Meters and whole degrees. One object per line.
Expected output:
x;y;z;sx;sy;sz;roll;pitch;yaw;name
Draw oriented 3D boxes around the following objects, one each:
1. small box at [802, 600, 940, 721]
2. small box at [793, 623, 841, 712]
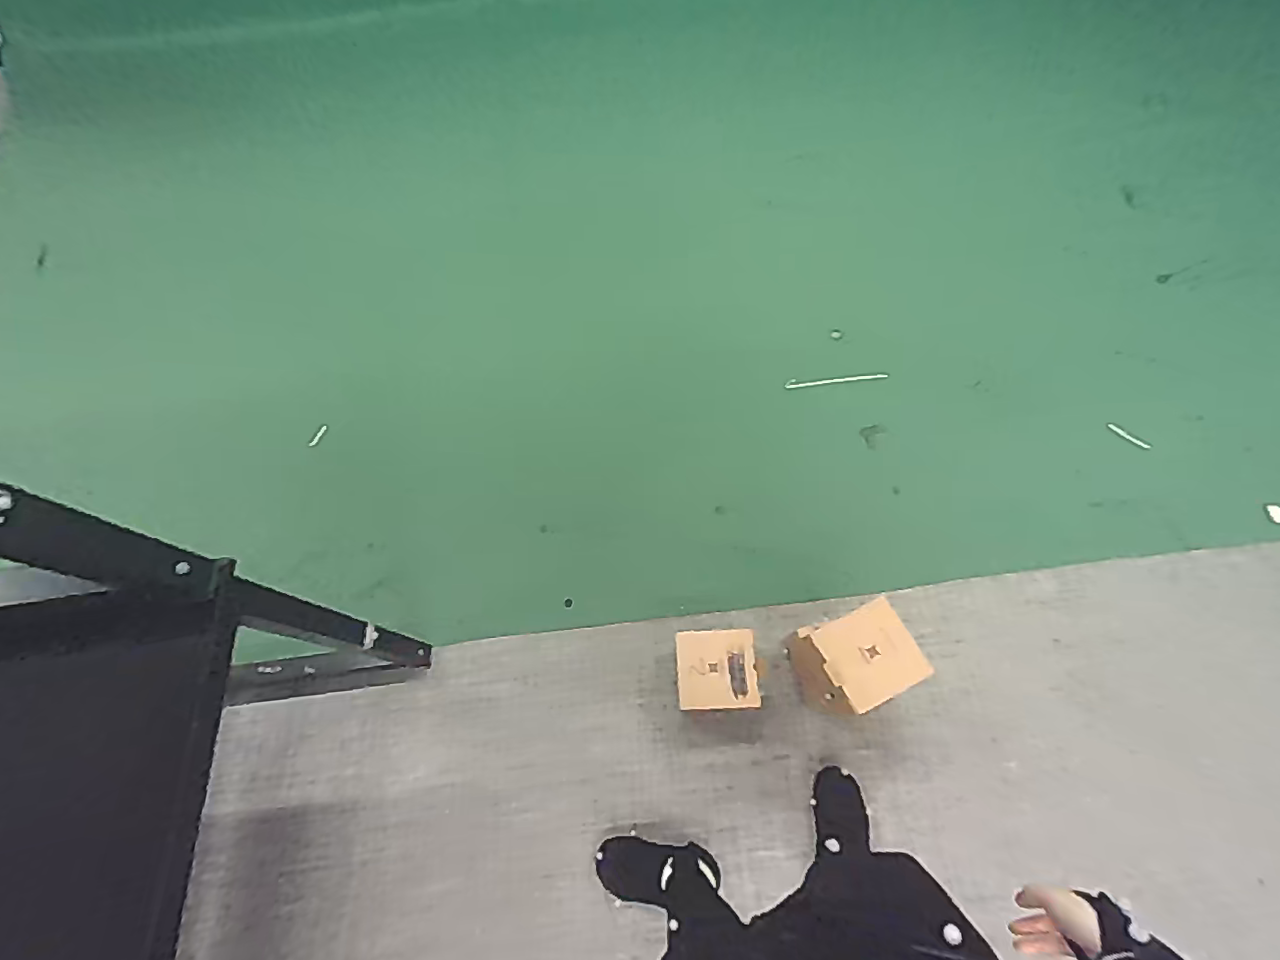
0.447;0.367;1.086;0.179;0.176;0.168;-25;68;-9;small box
0.463;0.425;1.237;0.179;0.176;0.168;-13;65;-3;small box
